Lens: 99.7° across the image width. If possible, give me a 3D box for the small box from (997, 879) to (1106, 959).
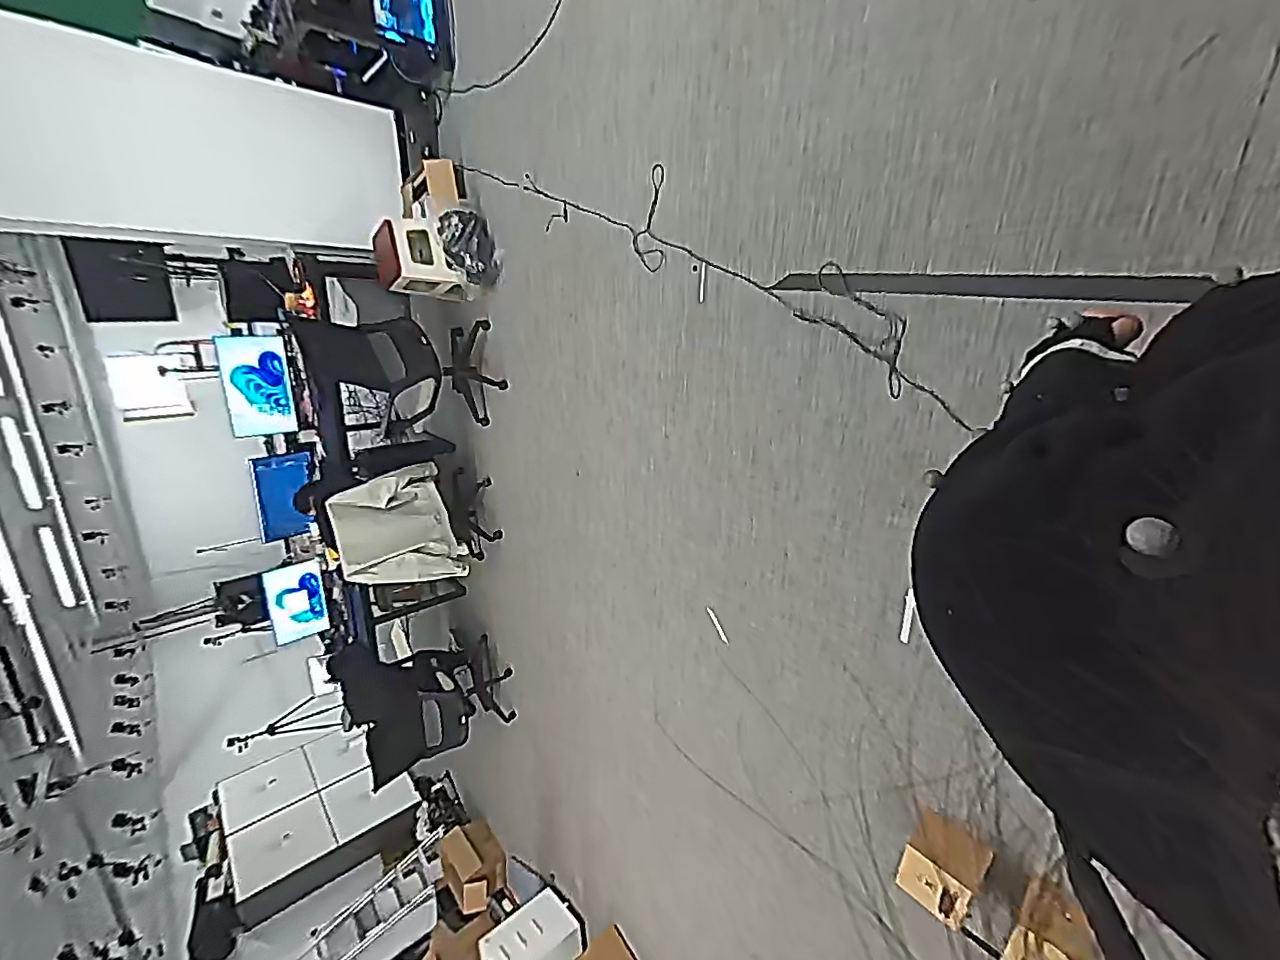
[{"bbox_3d":[1.051,1.187,1.380,0.168,0.176,0.179,24,118,42],"label":"small box"}]
